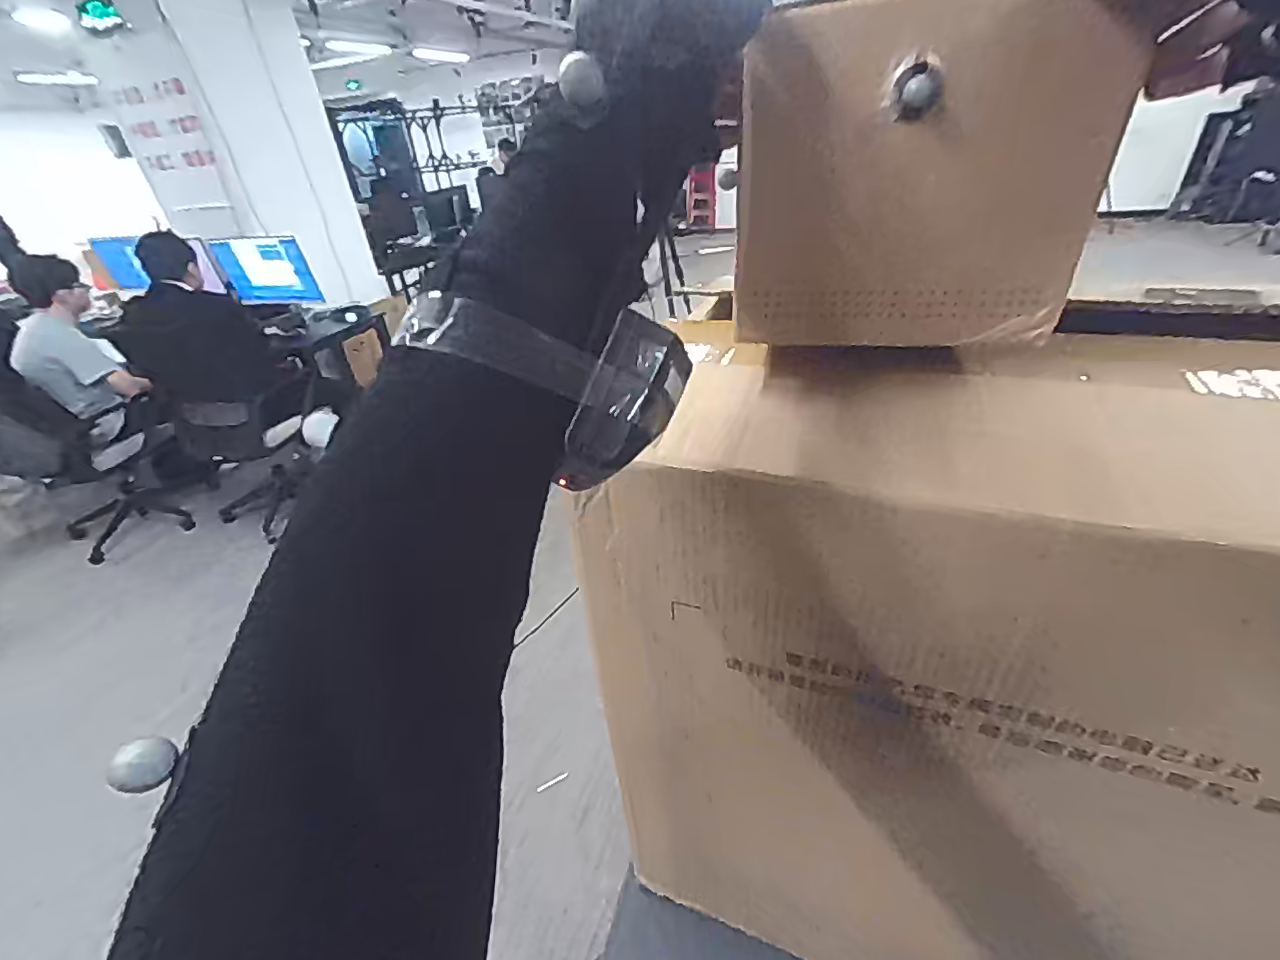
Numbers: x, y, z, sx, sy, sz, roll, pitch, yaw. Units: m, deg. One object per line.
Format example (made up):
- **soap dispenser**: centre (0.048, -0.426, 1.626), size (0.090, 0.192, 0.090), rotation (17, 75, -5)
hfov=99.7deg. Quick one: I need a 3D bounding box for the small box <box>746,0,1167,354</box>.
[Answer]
- **small box**: centre (0.163, -0.189, 0.347), size (0.179, 0.176, 0.168), rotation (5, 37, 13)
